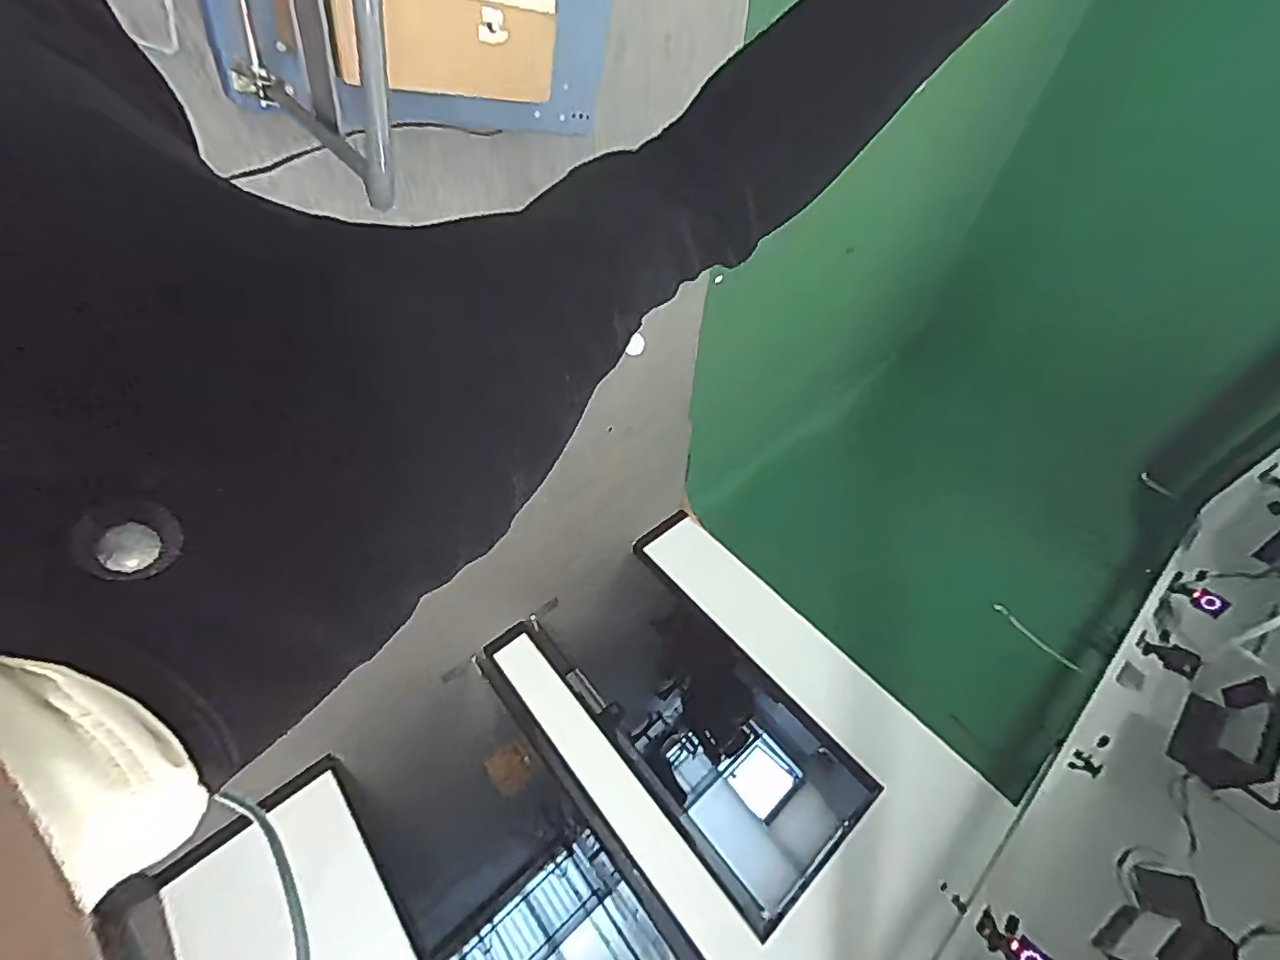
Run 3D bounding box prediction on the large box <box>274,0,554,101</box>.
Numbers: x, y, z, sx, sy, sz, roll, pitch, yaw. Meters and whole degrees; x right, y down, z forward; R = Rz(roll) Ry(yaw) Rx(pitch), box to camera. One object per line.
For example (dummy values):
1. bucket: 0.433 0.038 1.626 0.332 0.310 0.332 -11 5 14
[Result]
1. large box: -0.406 -0.909 0.964 0.408 0.320 0.320 -25 145 -37
